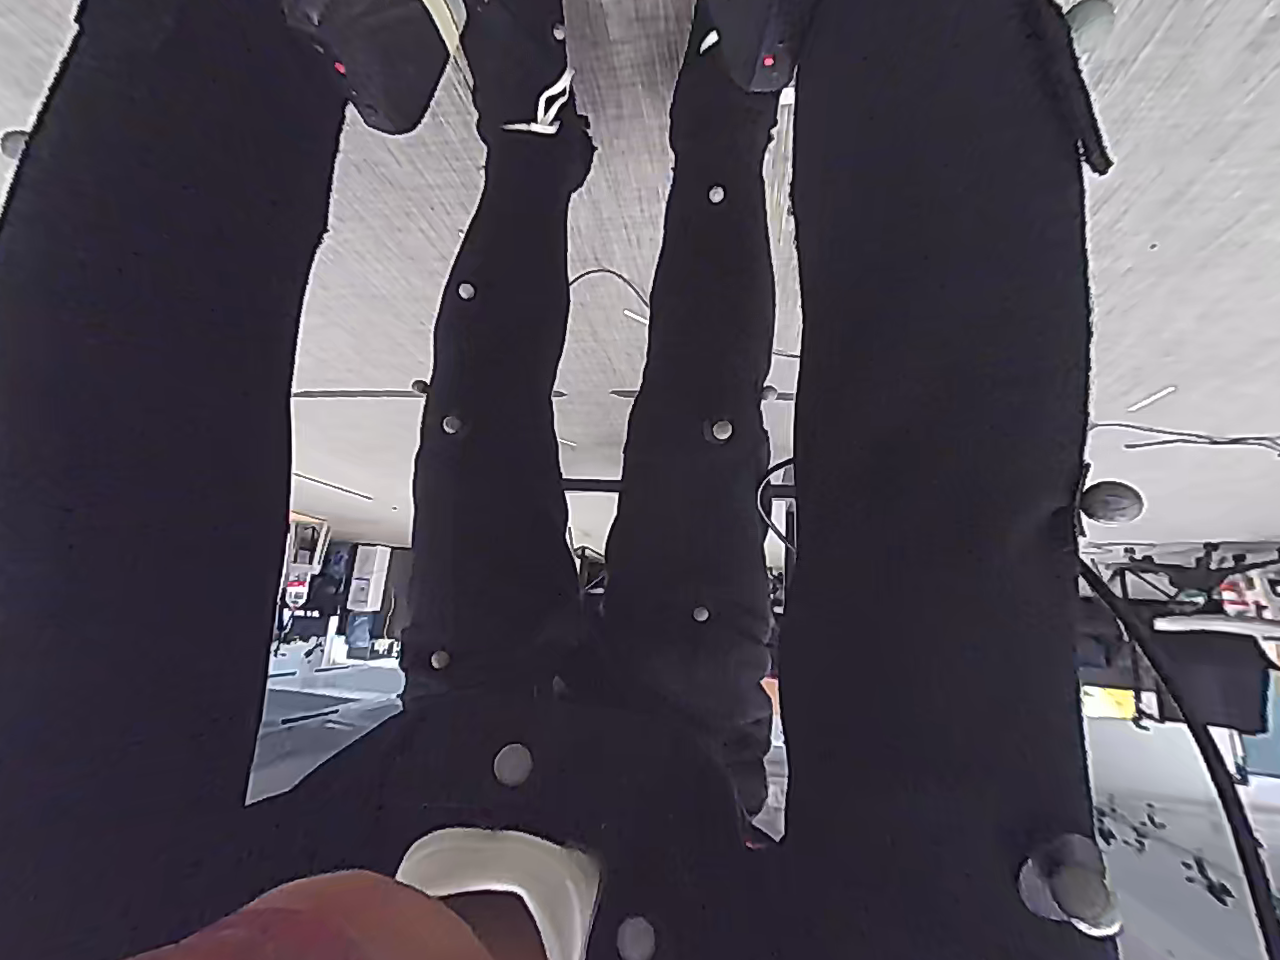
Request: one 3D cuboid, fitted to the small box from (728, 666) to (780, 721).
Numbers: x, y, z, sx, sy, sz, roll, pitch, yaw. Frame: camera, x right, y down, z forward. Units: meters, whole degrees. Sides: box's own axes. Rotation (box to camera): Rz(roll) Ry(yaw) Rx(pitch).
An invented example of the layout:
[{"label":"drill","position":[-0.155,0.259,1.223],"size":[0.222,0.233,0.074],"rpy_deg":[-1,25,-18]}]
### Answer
[{"label":"small box","position":[0.425,0.790,2.023],"size":[0.168,0.176,0.179],"rpy_deg":[3,165,3]}]
